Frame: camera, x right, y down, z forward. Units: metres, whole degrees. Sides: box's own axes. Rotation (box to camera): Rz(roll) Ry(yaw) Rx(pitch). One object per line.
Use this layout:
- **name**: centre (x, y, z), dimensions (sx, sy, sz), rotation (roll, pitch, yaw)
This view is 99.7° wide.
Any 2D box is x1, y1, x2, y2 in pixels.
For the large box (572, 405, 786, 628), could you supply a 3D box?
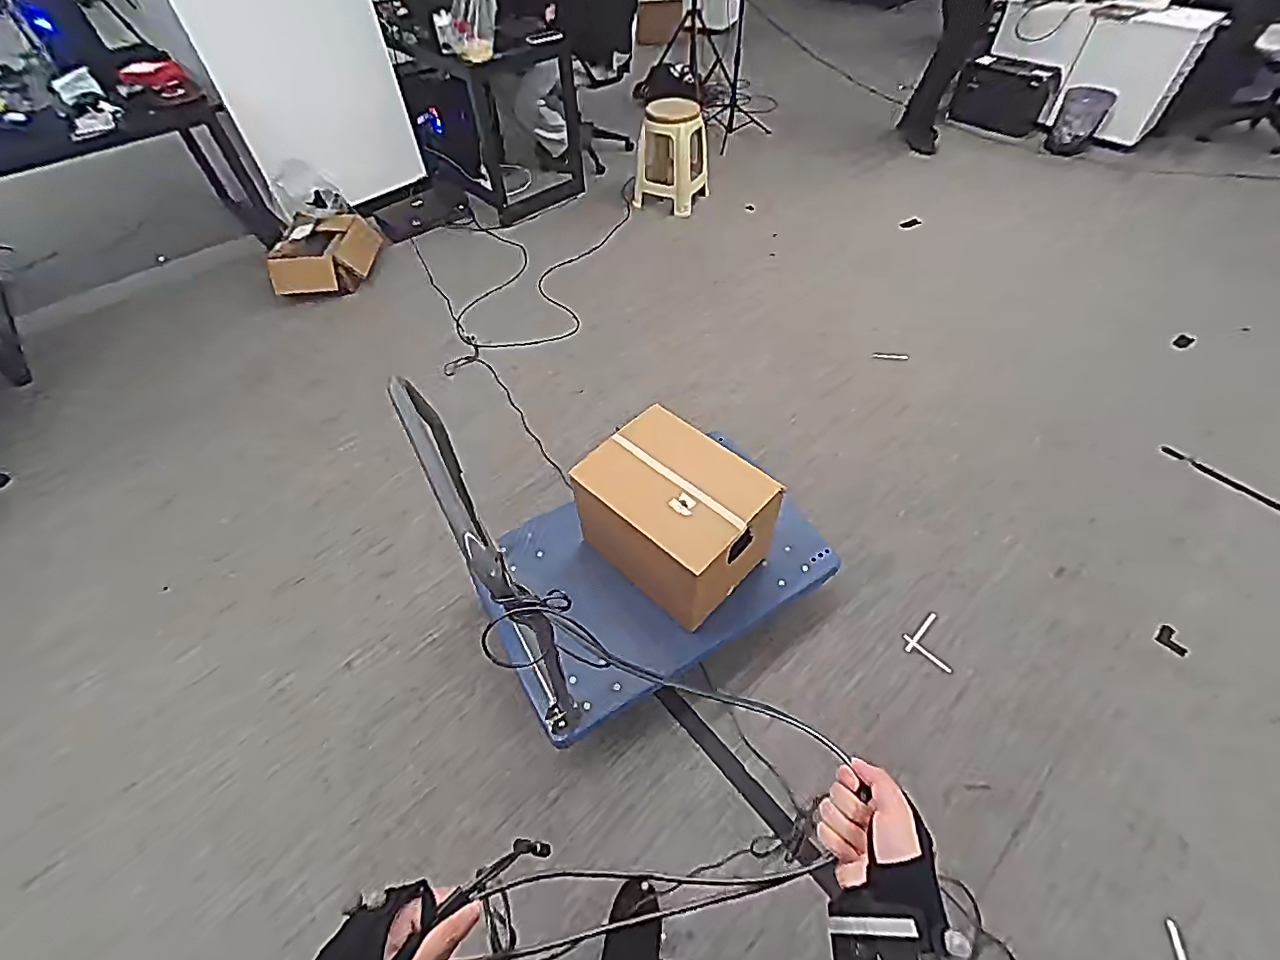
- **large box**: centre (0.087, 0.088, 1.362), dimensions (0.408, 0.320, 0.320), rotation (37, 63, 25)
